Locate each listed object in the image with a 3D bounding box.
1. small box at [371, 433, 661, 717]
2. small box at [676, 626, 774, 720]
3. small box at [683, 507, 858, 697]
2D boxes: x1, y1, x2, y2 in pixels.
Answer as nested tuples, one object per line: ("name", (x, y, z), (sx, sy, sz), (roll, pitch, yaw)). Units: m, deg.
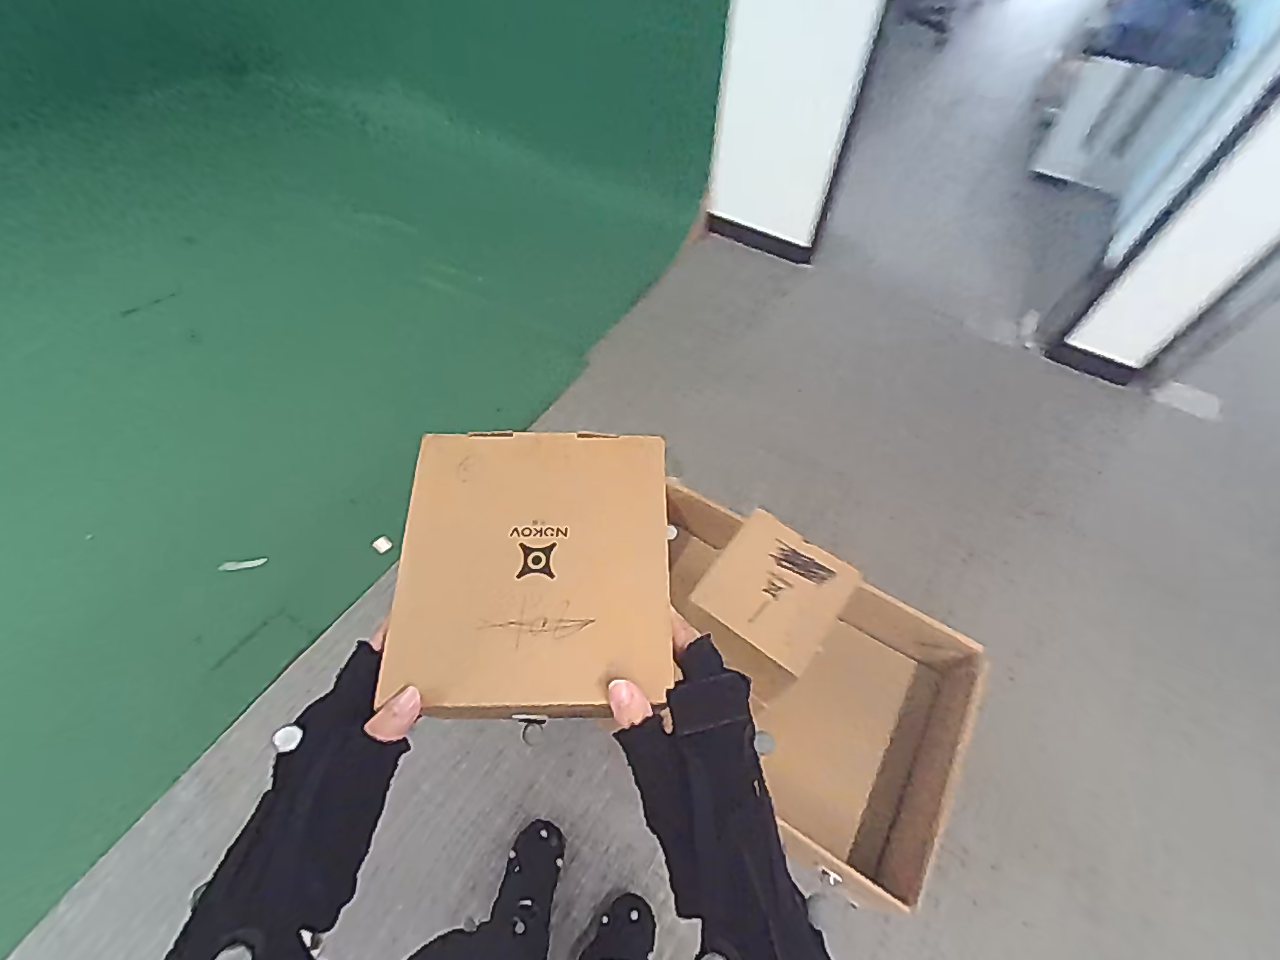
("small box", (-0.076, 0.080, 0.412), (0.168, 0.176, 0.179), (-1, 65, -3))
("small box", (0.175, 0.270, 0.913), (0.168, 0.176, 0.179), (36, 62, 21))
("small box", (0.174, 0.179, 0.777), (0.168, 0.176, 0.179), (34, 63, 18))
